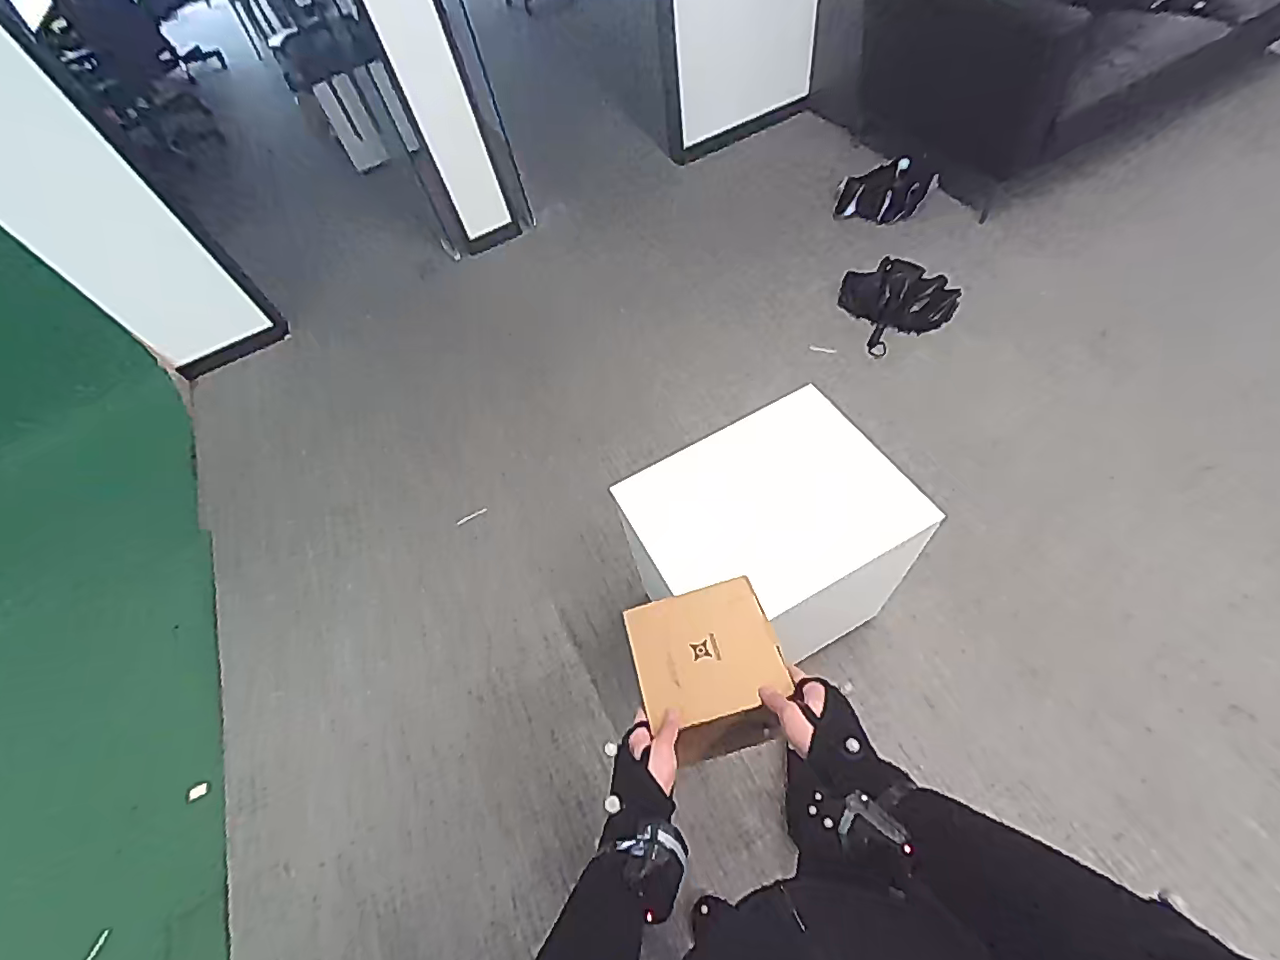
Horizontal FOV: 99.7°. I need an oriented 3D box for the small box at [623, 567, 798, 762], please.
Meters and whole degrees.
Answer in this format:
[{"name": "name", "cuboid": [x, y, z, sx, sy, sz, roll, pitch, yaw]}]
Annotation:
[{"name": "small box", "cuboid": [0.090, 0.246, 0.713, 0.179, 0.176, 0.168, -17, 48, -2]}]
